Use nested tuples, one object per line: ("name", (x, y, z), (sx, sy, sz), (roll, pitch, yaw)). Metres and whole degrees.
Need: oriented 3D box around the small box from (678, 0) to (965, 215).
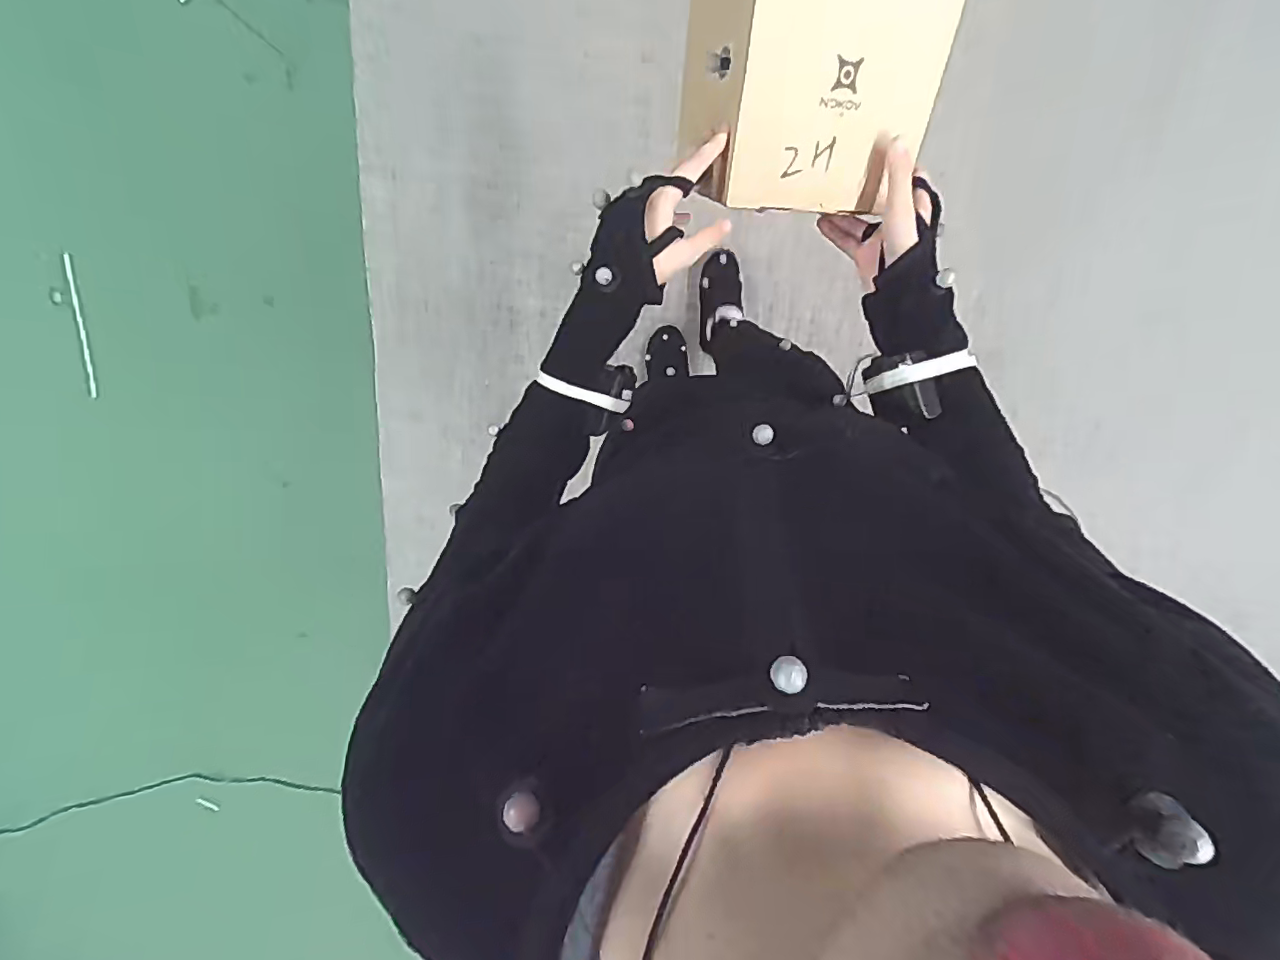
("small box", (0.137, -0.347, 0.475), (0.168, 0.176, 0.179), (-2, 127, -11))
